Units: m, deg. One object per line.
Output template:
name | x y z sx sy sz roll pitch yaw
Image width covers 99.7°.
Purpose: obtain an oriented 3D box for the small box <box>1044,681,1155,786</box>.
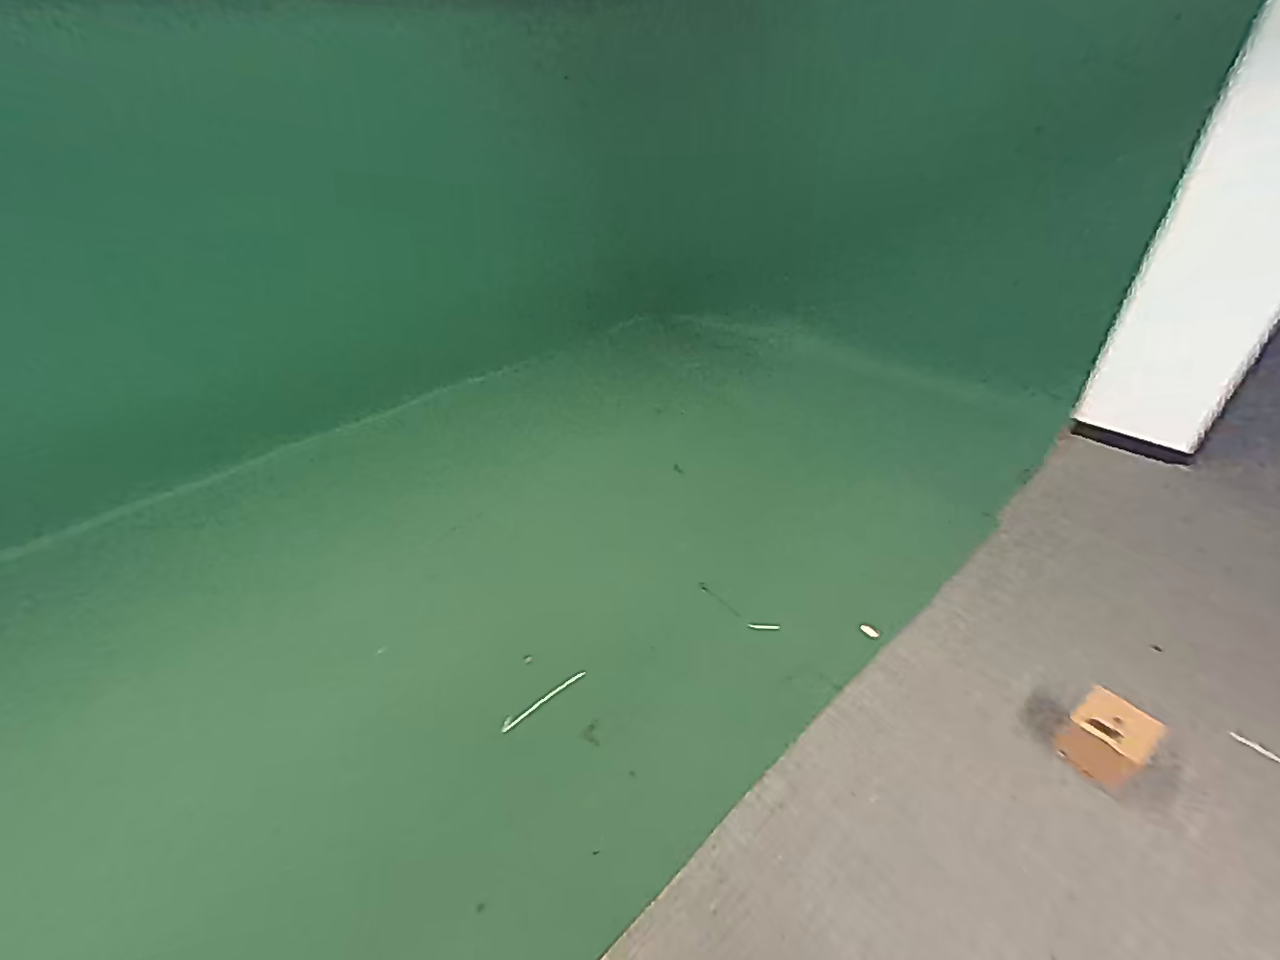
small box | 1.283 0.716 1.524 0.179 0.176 0.168 -26 43 -26
